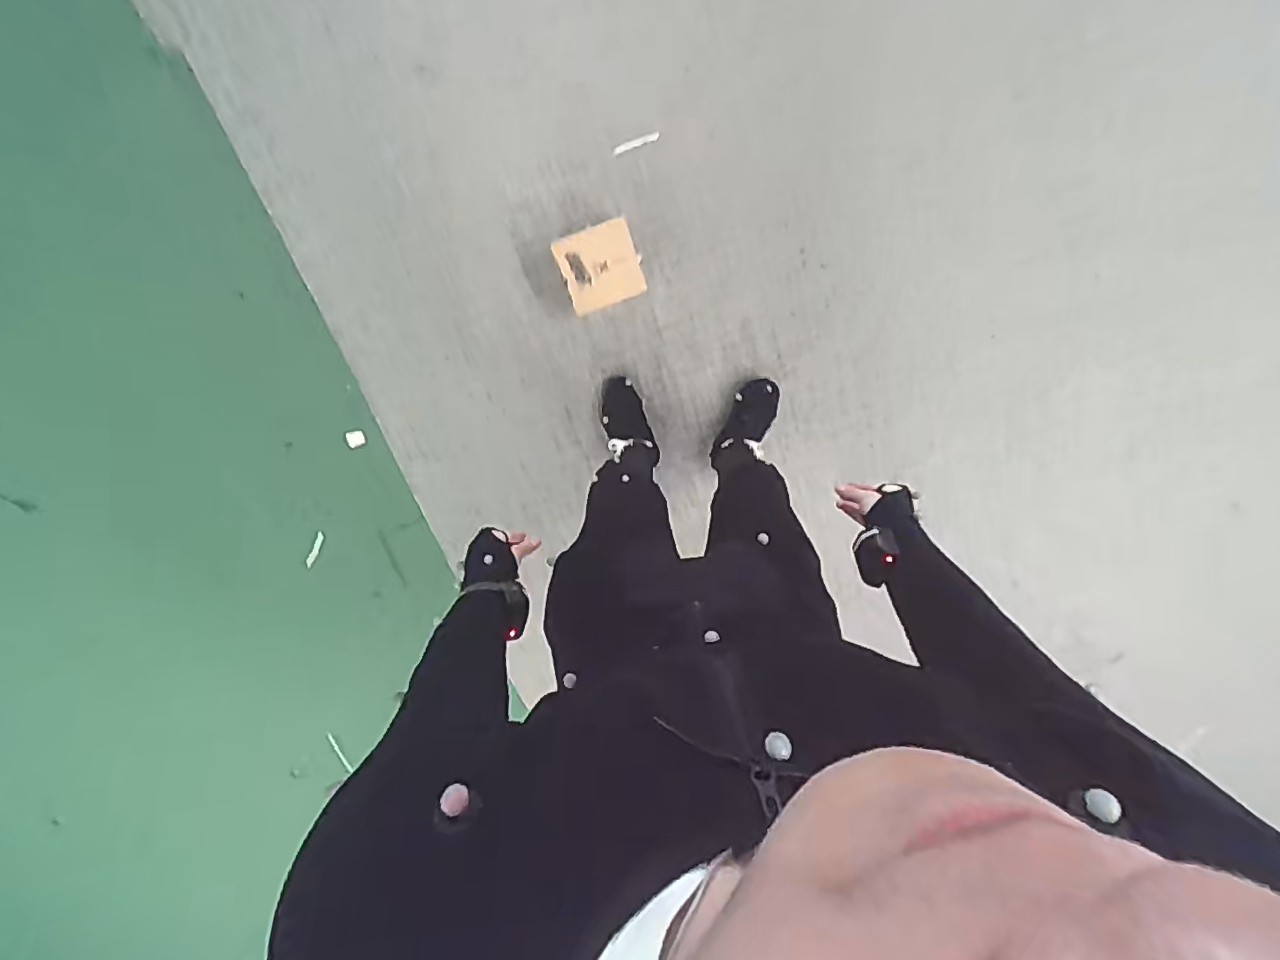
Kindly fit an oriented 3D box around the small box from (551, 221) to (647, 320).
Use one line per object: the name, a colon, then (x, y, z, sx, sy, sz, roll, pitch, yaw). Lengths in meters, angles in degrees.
small box: (-0.094, -0.489, 1.282, 0.179, 0.176, 0.168, -20, 109, 3)
